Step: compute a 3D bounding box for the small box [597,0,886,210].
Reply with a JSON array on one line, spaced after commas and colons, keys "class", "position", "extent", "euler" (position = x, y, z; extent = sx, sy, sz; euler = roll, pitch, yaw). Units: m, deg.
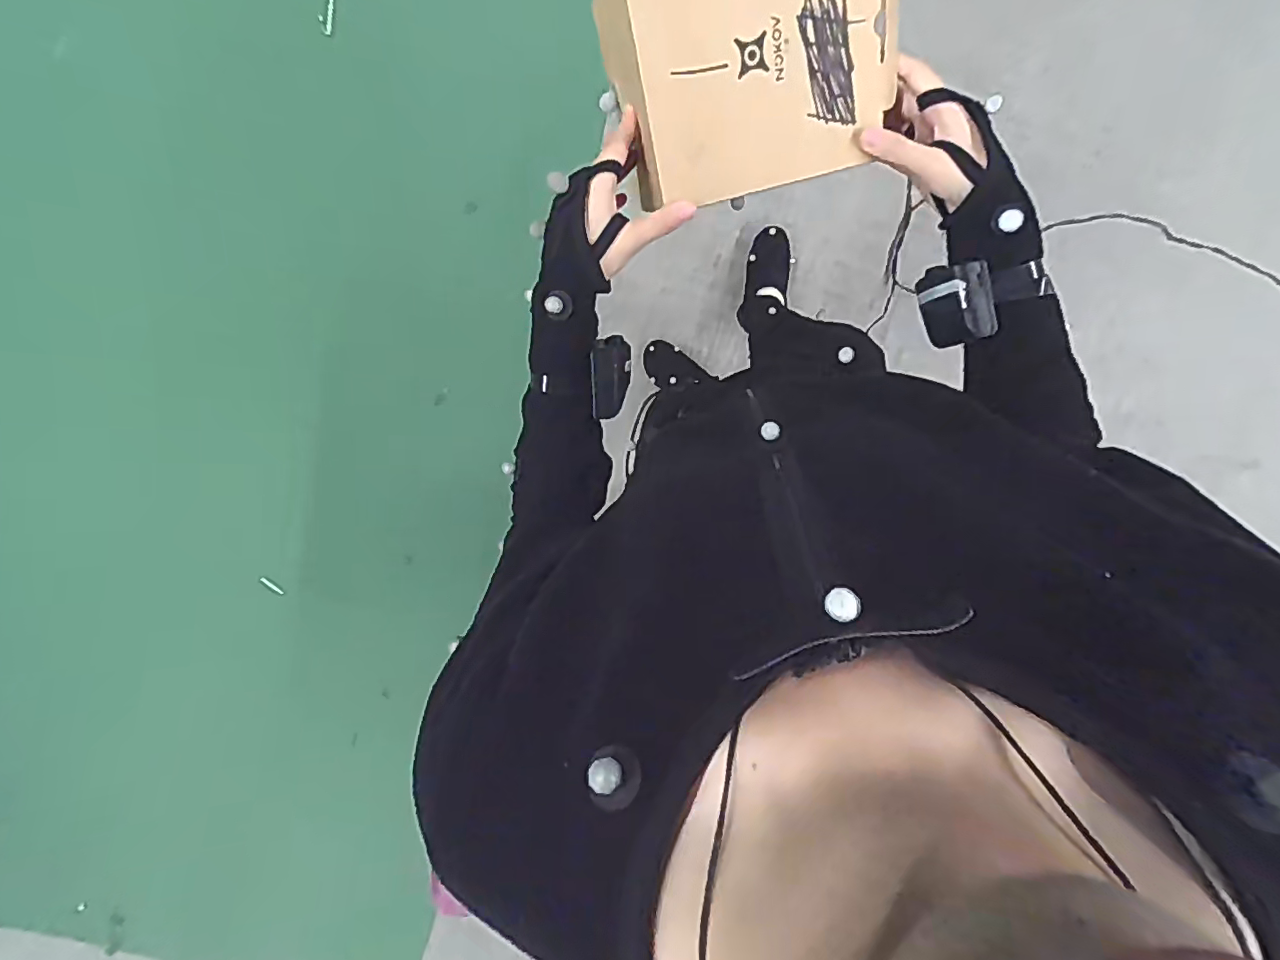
[{"class": "small box", "position": [0.072, -0.329, 0.437], "extent": [0.179, 0.176, 0.168], "euler": [-15, 118, -1]}]
